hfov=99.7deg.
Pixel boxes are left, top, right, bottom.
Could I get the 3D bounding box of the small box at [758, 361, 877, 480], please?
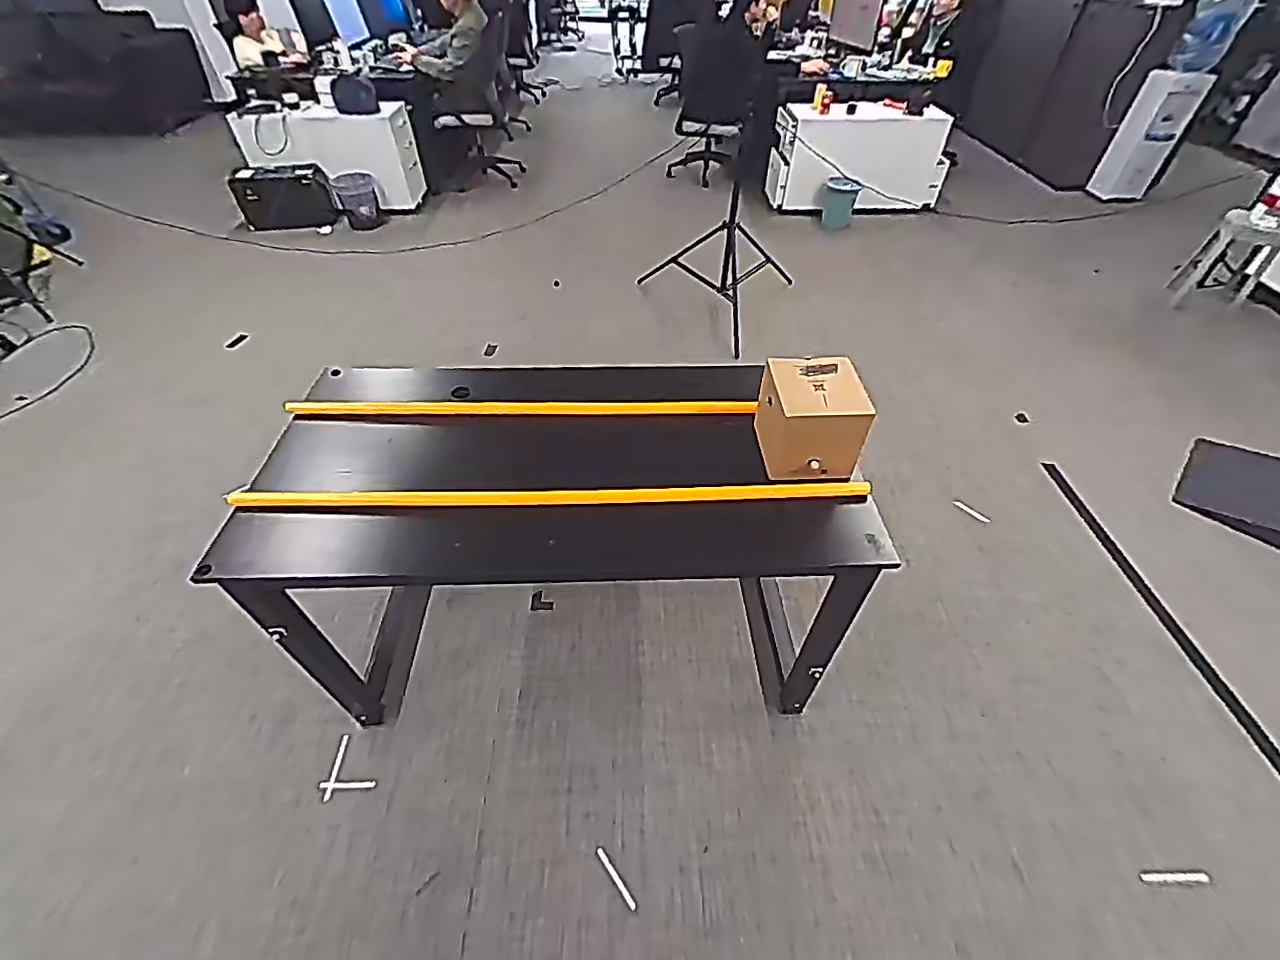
[{"bbox_3d":[0.339,-0.119,1.076,0.168,0.176,0.179,-2,47,-1],"label":"small box"}]
